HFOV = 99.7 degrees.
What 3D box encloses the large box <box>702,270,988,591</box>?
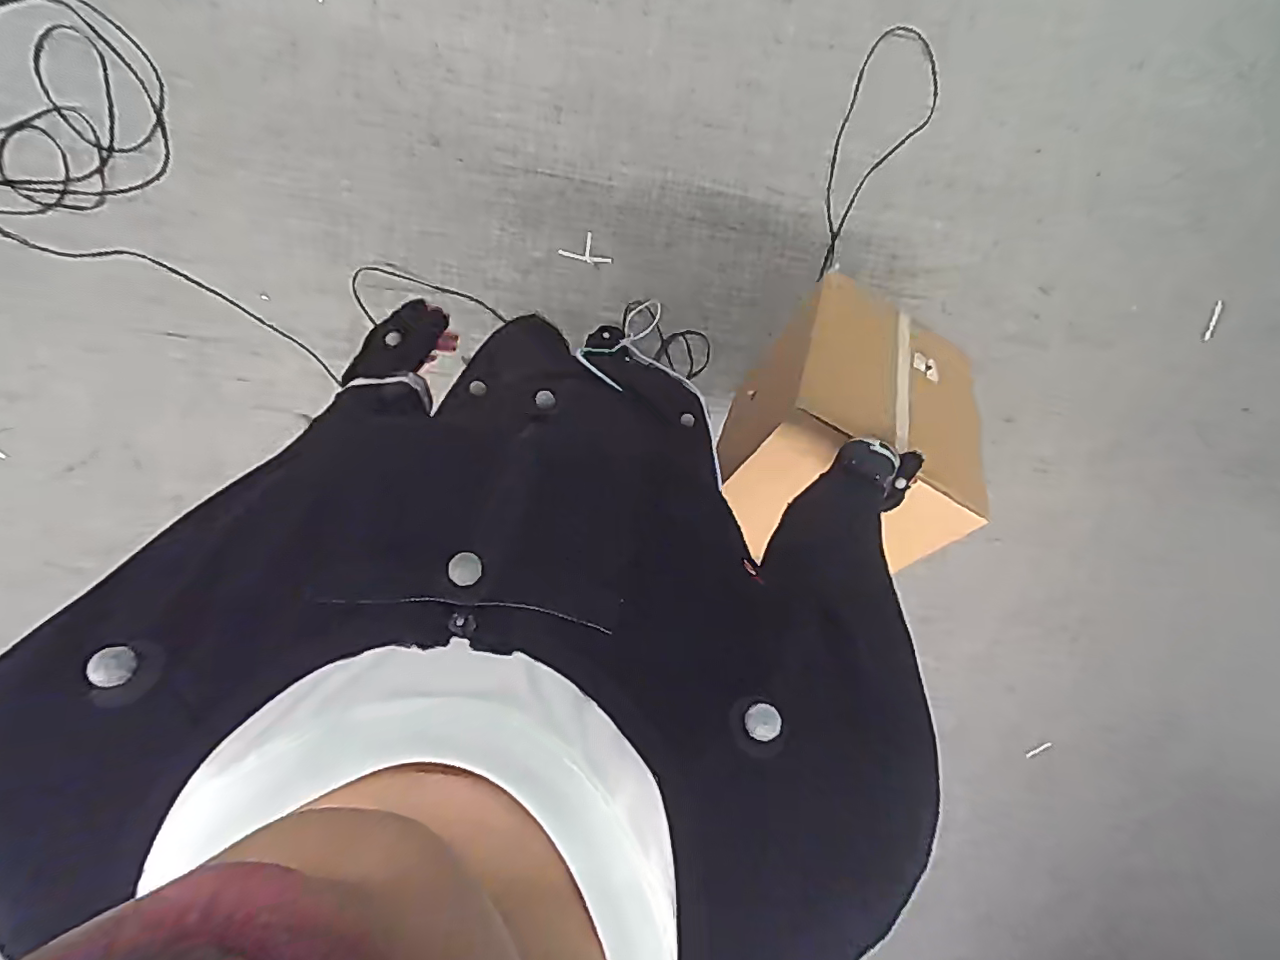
[{"bbox_3d":[0.349,-0.083,0.960,0.320,0.408,0.320,30,141,-6],"label":"large box"}]
